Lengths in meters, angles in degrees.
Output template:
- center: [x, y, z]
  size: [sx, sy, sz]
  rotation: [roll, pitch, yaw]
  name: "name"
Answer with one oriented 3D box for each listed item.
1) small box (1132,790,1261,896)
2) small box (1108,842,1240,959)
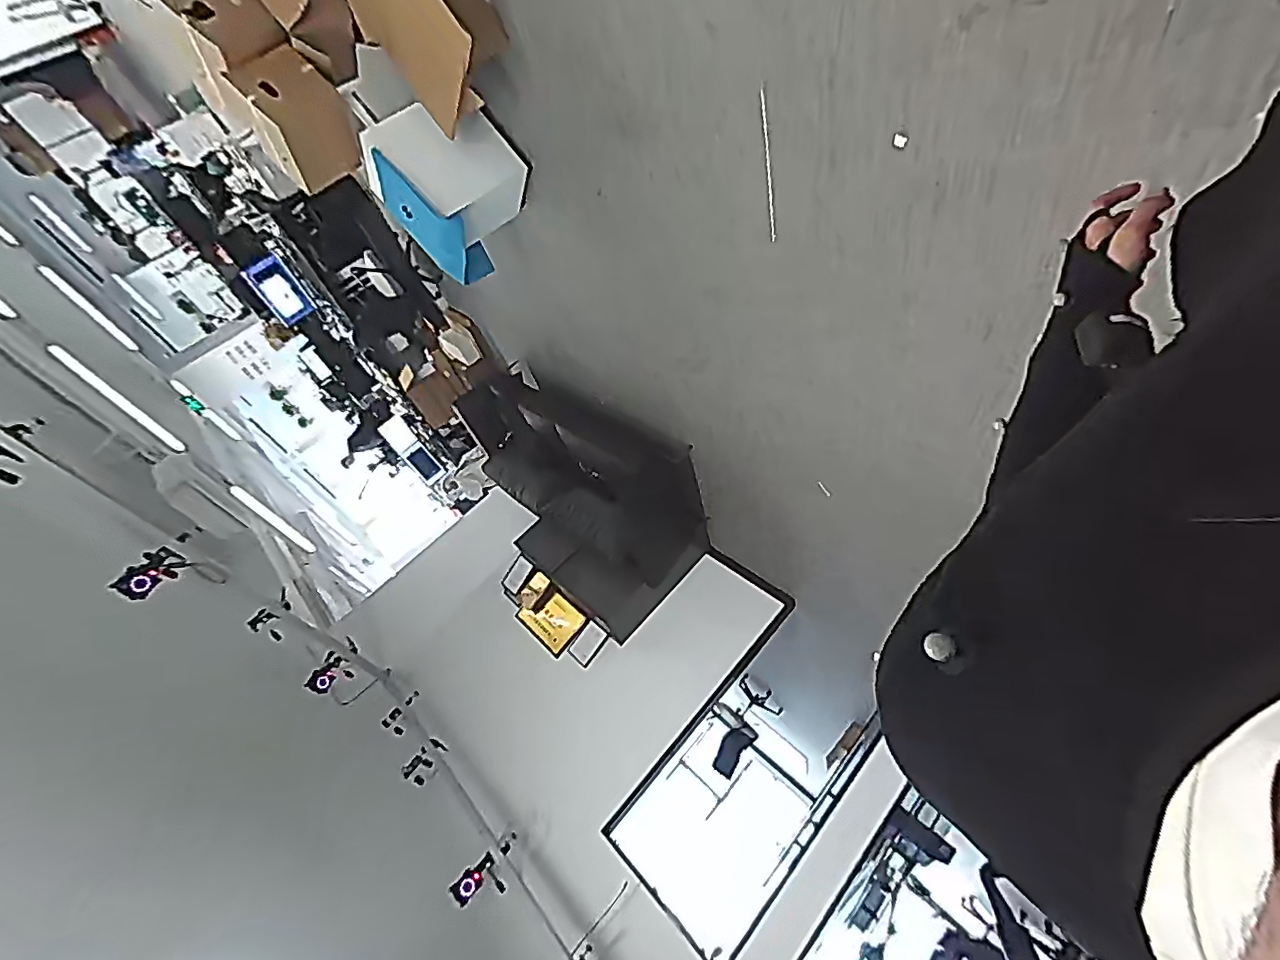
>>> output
- center: [1.486, 0.967, 1.445]
  size: [0.168, 0.176, 0.179]
  rotation: [33, 156, 32]
  name: "small box"
- center: [1.373, 1.071, 1.391]
  size: [0.168, 0.176, 0.179]
  rotation: [34, 156, 31]
  name: "small box"
